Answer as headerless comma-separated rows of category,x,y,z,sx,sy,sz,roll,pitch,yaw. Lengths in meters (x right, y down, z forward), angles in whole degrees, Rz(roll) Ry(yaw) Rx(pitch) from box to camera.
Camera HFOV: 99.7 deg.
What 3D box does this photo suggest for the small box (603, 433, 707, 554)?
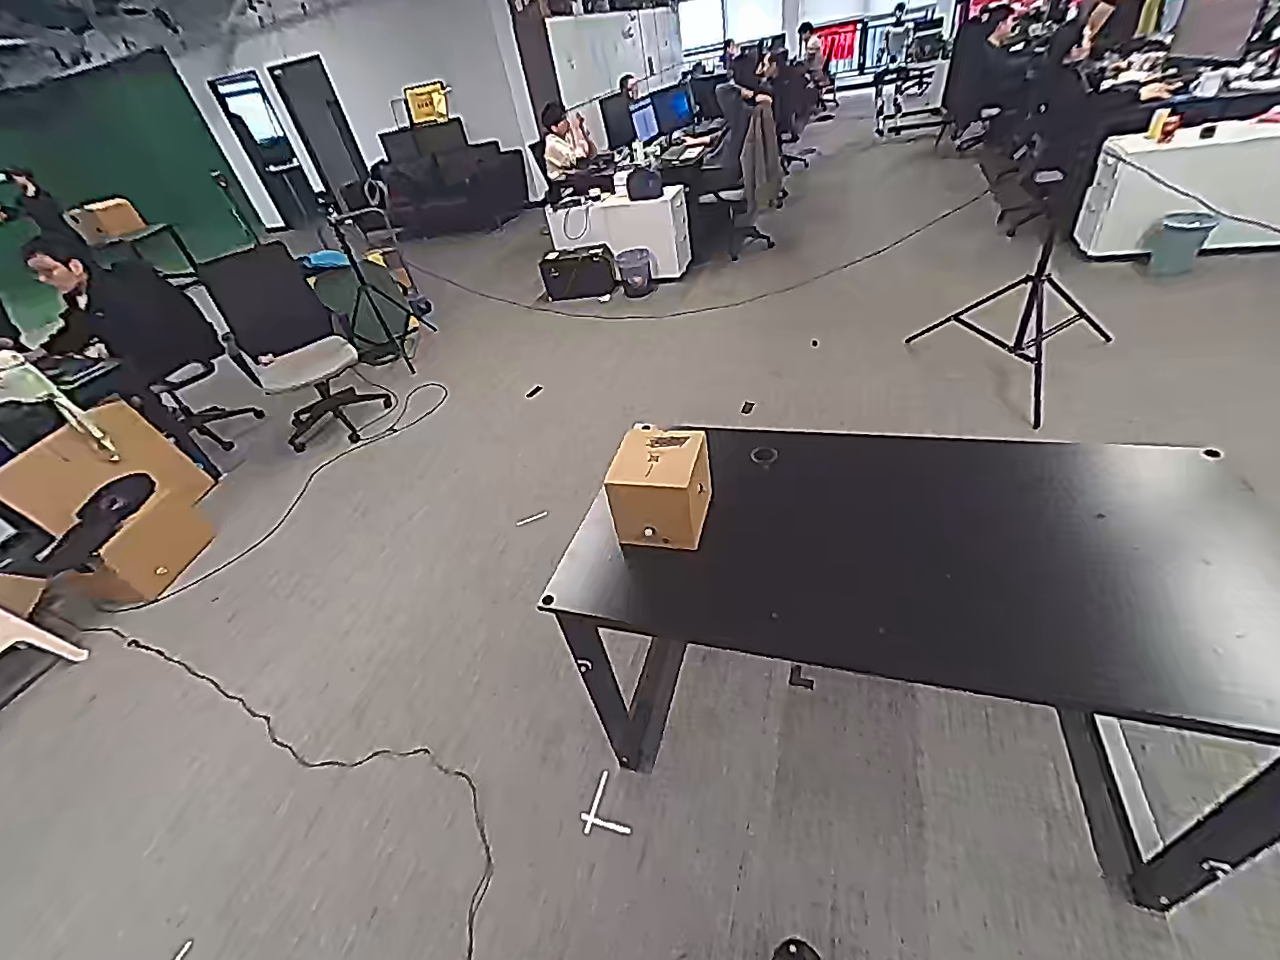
small box,0.040,0.024,1.098,0.168,0.176,0.179,3,42,18
